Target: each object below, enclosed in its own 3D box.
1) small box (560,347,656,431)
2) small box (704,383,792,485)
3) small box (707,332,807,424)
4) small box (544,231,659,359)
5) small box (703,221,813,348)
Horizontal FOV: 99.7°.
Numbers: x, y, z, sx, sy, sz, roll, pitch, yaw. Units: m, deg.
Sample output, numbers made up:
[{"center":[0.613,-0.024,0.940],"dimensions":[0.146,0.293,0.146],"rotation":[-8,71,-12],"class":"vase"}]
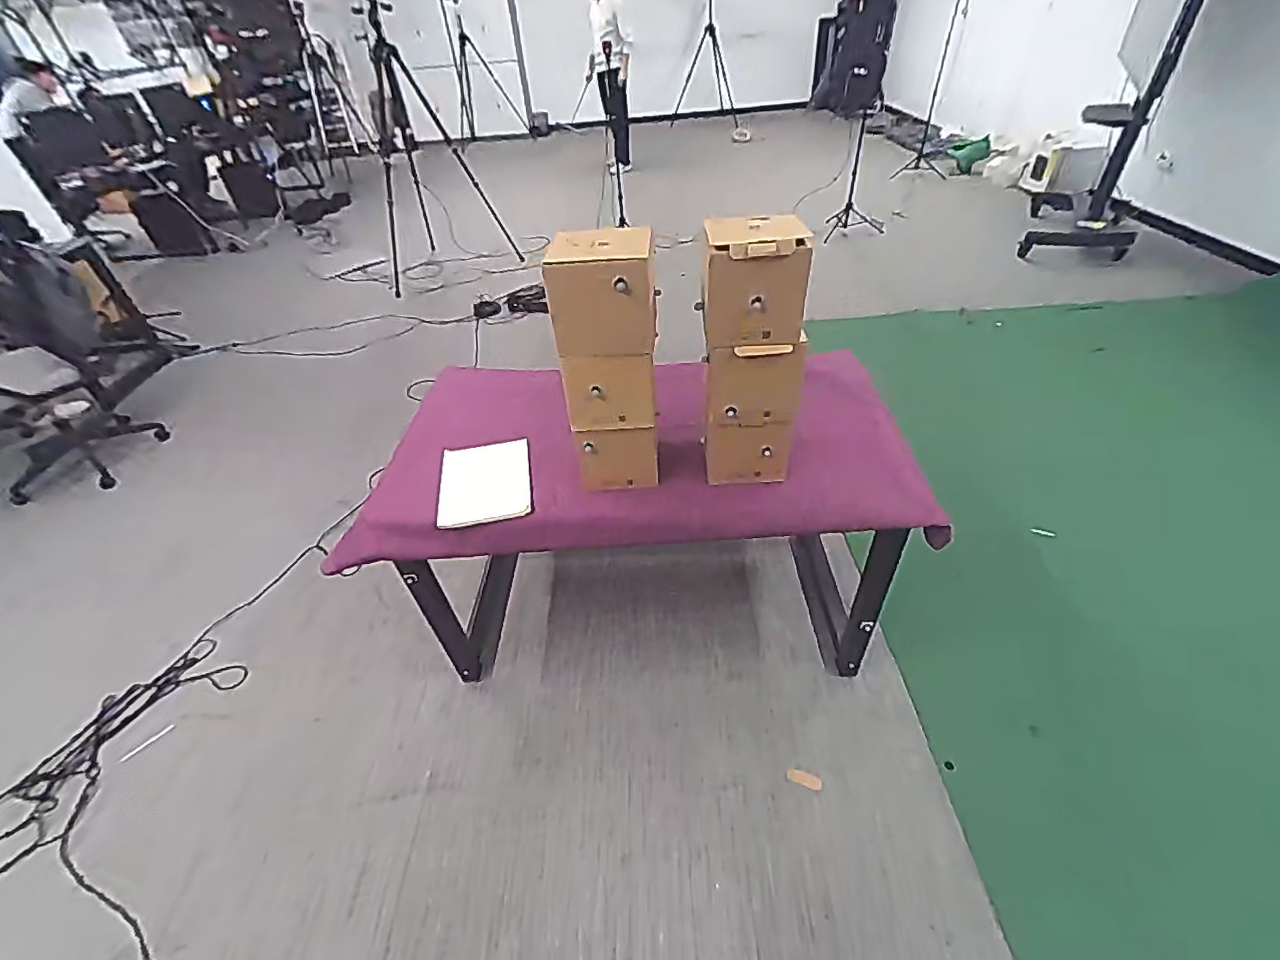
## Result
[{"center":[-0.054,-0.209,1.084],"dimensions":[0.168,0.176,0.179],"rotation":[-2,40,4],"class":"small box"},{"center":[0.227,-0.100,1.181],"dimensions":[0.168,0.176,0.179],"rotation":[-1,40,3],"class":"small box"},{"center":[0.222,-0.221,1.071],"dimensions":[0.168,0.176,0.179],"rotation":[-2,40,2],"class":"small box"},{"center":[-0.057,-0.330,0.971],"dimensions":[0.179,0.176,0.168],"rotation":[-1,40,6],"class":"small box"},{"center":[0.200,-0.345,0.965],"dimensions":[0.168,0.176,0.179],"rotation":[-1,41,3],"class":"small box"}]
